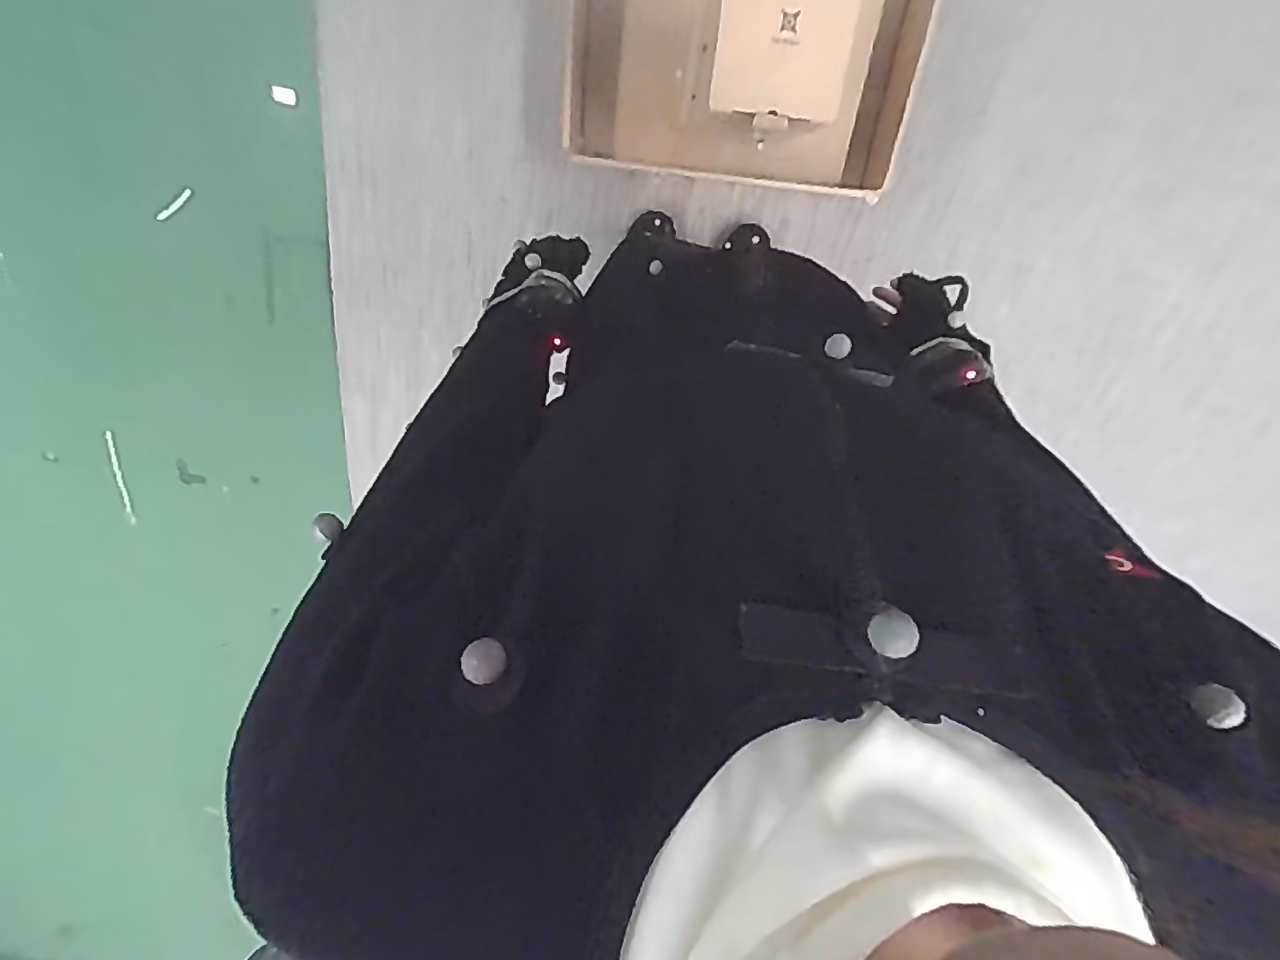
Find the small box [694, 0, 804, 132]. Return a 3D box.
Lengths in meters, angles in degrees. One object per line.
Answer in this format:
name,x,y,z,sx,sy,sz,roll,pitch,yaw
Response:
small box,0.177,-0.655,0.845,0.168,0.176,0.179,3,119,0

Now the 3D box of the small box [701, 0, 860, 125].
small box,0.176,-0.585,0.716,0.168,0.176,0.179,5,119,-2
